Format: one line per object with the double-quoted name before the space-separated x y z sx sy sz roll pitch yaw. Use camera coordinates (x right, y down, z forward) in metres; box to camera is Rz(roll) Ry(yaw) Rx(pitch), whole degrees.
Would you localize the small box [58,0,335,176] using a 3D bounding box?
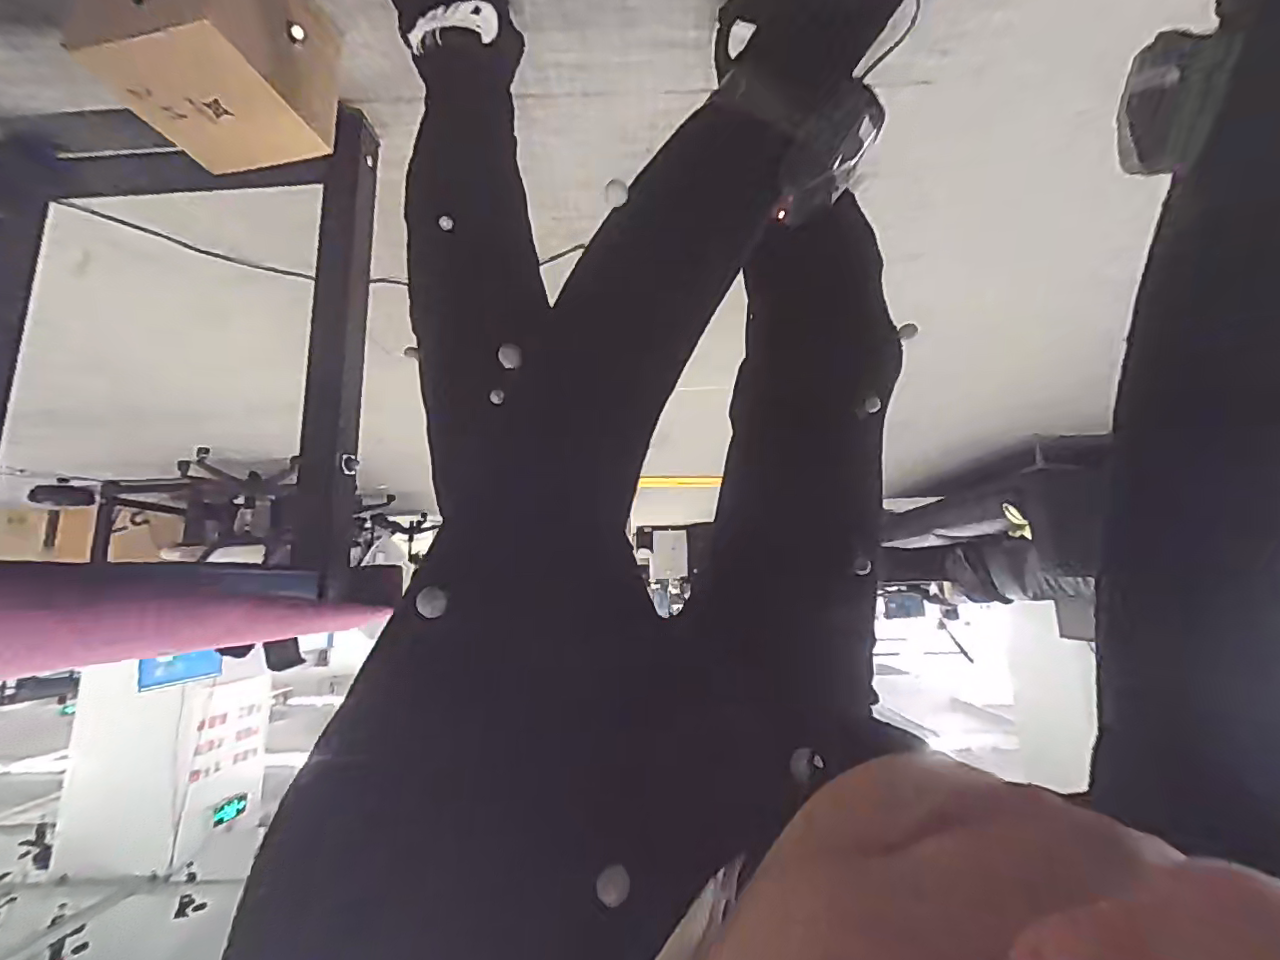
"small box" -0.467 -0.478 0.597 0.179 0.176 0.168 -4 168 9
